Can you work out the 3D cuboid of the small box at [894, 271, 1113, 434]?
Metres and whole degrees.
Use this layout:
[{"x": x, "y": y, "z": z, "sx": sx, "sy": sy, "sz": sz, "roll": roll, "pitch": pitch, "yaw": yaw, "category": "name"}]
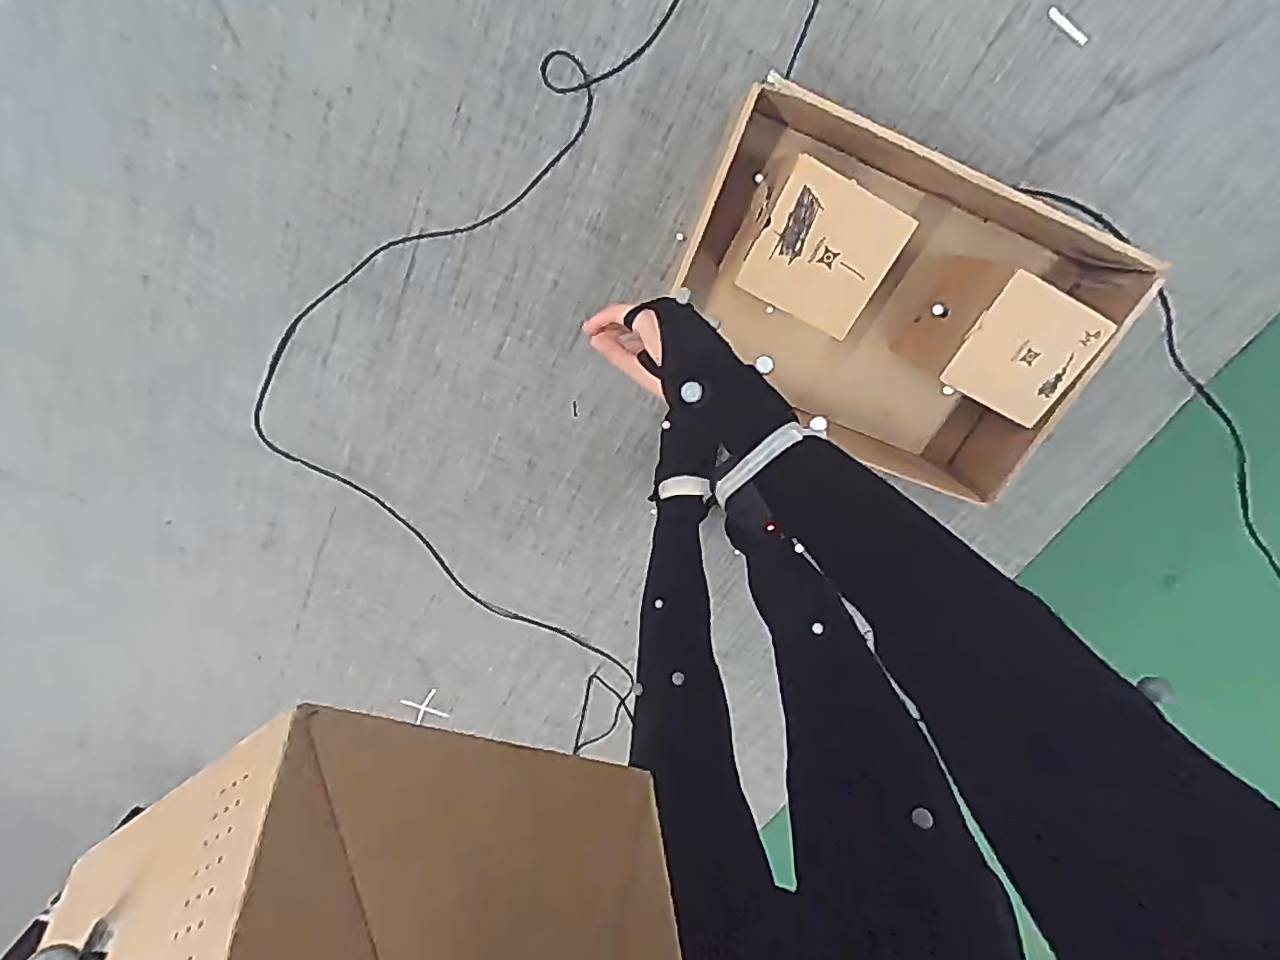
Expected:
[{"x": 0.525, "y": -0.199, "z": 0.814, "sx": 0.179, "sy": 0.176, "sz": 0.168, "roll": 25, "pitch": 114, "yaw": -10, "category": "small box"}]
